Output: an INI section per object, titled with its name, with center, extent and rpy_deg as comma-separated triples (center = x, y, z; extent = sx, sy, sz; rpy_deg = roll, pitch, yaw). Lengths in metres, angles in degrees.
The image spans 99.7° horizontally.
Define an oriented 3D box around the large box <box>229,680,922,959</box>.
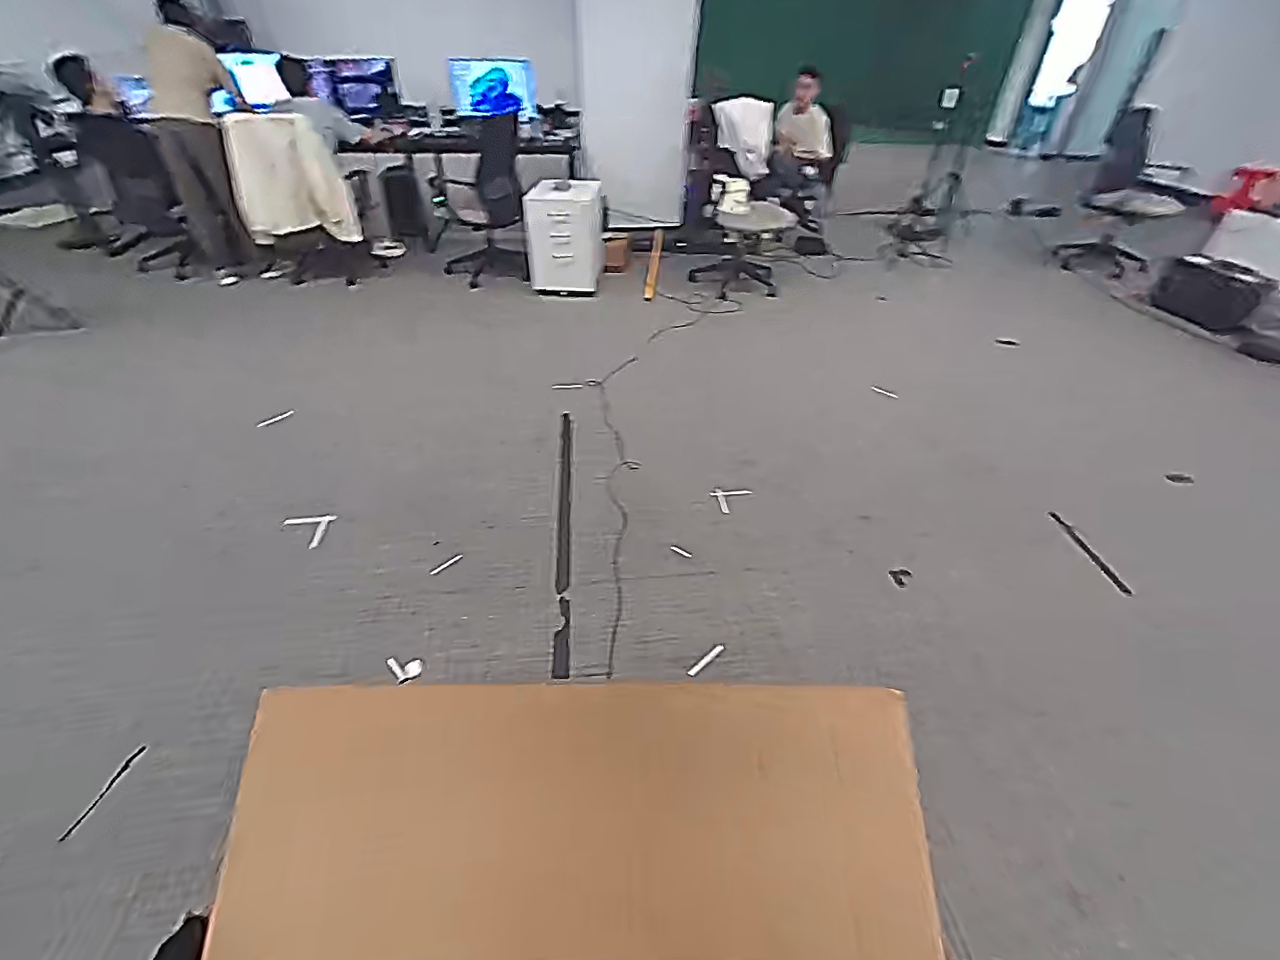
[large box]
center = -0.038, 0.333, 0.444
extent = 0.408, 0.320, 0.320
rpy_deg = 0, 71, 1
